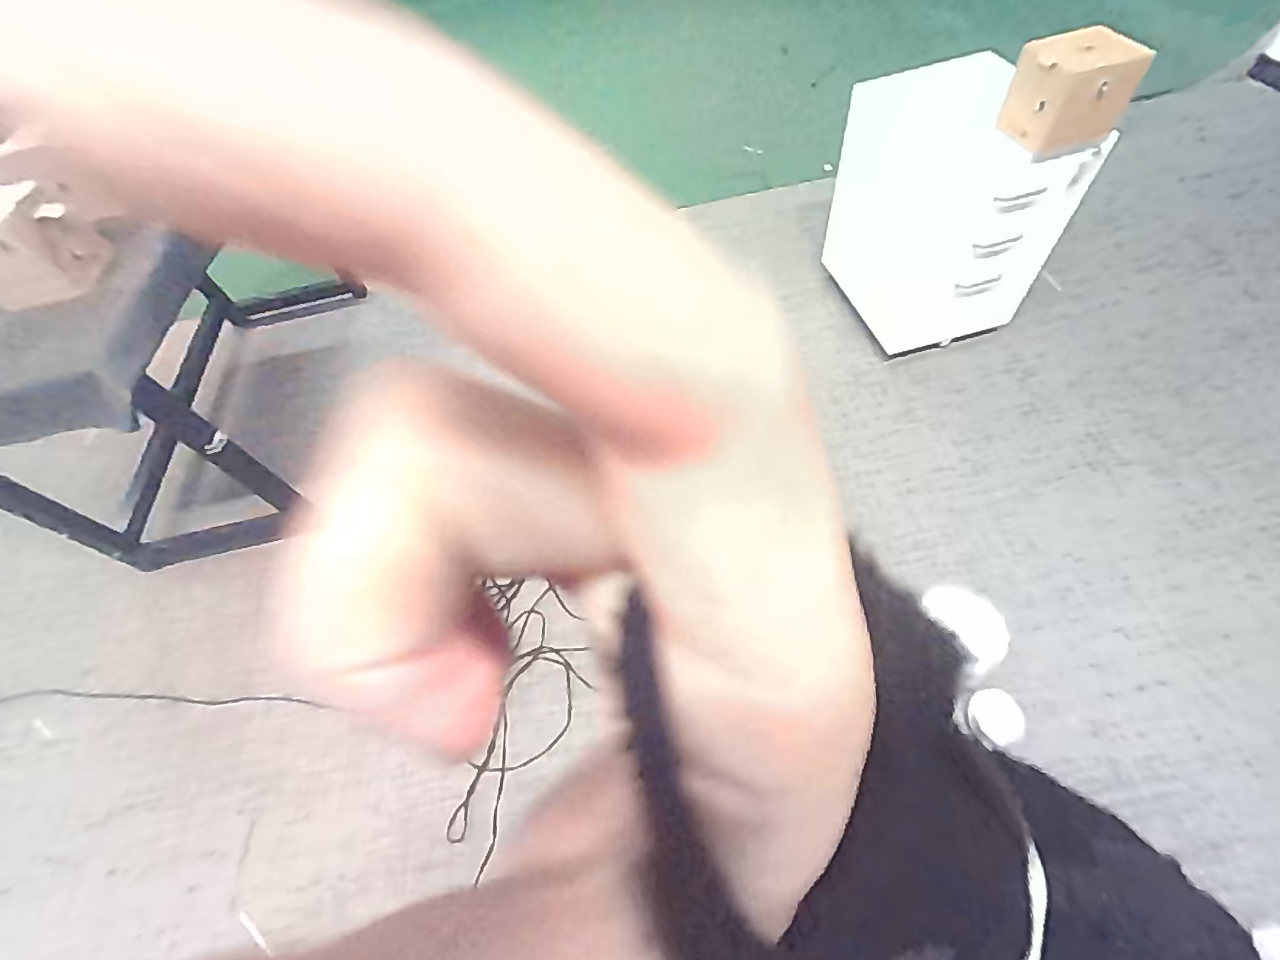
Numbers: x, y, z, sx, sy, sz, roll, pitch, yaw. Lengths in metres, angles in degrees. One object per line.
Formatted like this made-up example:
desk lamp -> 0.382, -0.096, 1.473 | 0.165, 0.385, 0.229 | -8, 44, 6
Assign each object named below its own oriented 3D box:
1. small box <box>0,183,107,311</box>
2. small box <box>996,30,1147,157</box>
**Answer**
small box -> -1.283, -0.473, 1.114 | 0.179, 0.176, 0.168 | -13, 56, 0
small box -> 0.927, -0.844, 1.190 | 0.179, 0.176, 0.168 | -15, 57, -2
